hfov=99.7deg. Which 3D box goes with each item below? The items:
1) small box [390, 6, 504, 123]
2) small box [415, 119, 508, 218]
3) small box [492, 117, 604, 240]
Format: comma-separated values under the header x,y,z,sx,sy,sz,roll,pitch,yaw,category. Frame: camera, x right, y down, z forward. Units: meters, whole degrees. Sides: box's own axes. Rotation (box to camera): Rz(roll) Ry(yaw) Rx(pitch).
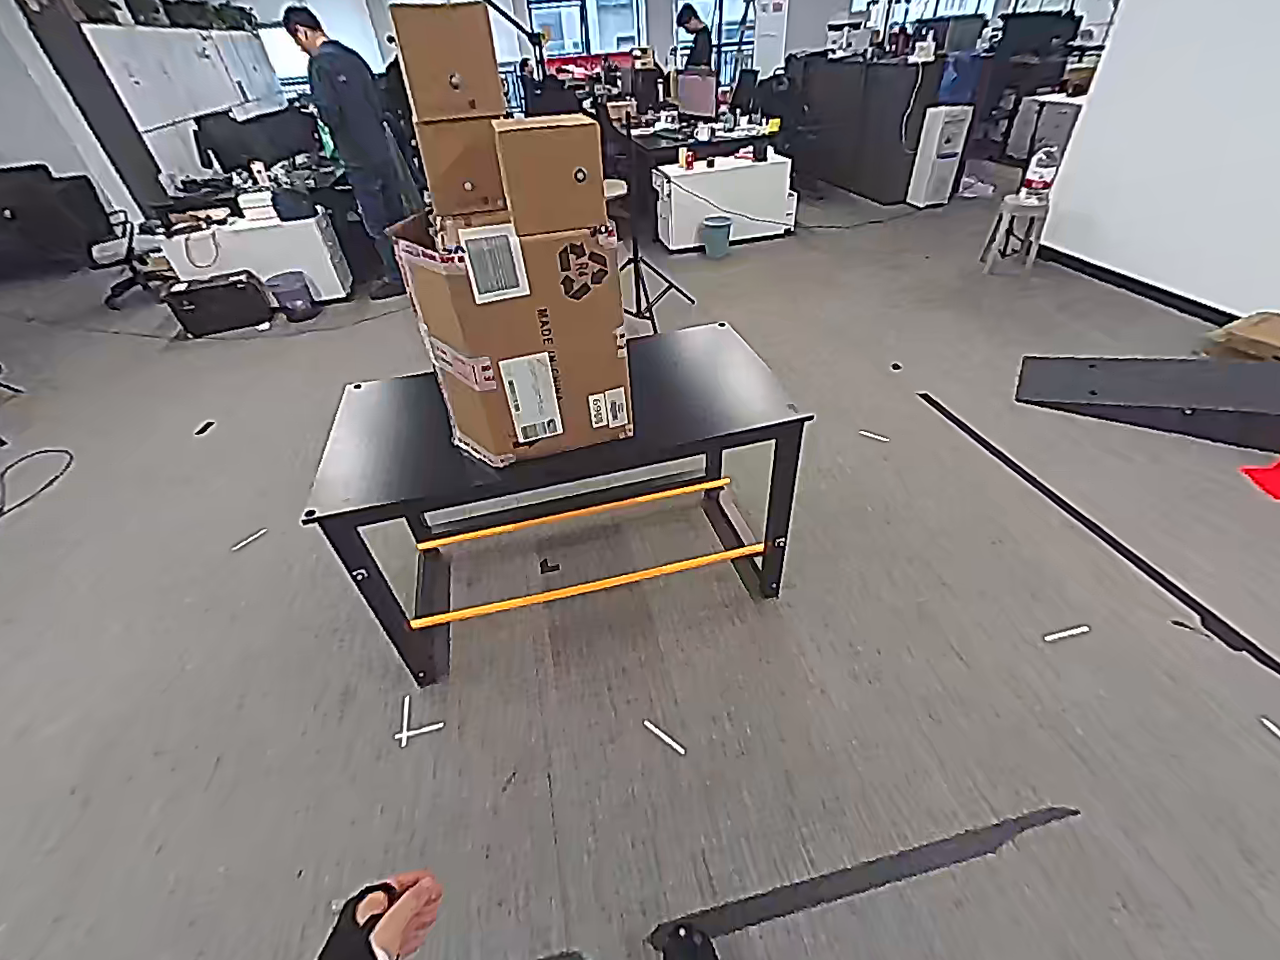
x,y,z,sx,sy,sz,roll,pitch,yaw,category
-0.371,-0.796,1.046,0.168,0.176,0.179,-16,39,-15,small box
-0.372,-0.669,1.152,0.168,0.176,0.179,-14,39,-13,small box
-0.170,-0.571,1.021,0.179,0.176,0.168,-13,40,-10,small box
